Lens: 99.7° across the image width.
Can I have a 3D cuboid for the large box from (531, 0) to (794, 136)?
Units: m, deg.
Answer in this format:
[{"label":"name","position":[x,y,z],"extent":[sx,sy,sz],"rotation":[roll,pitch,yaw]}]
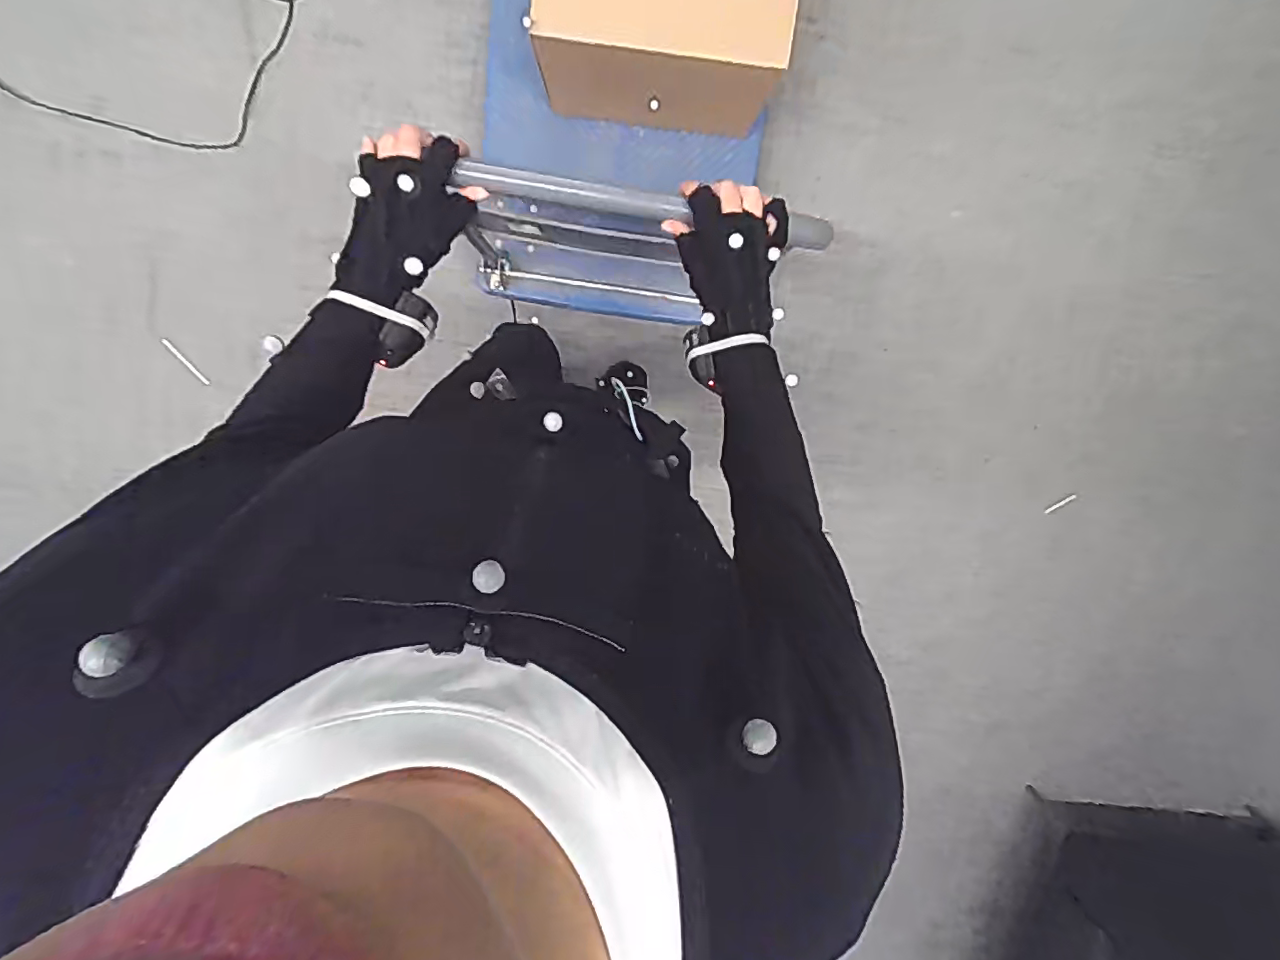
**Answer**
[{"label":"large box","position":[0.043,-0.841,0.945],"extent":[0.408,0.320,0.320],"rotation":[6,104,-3]}]
